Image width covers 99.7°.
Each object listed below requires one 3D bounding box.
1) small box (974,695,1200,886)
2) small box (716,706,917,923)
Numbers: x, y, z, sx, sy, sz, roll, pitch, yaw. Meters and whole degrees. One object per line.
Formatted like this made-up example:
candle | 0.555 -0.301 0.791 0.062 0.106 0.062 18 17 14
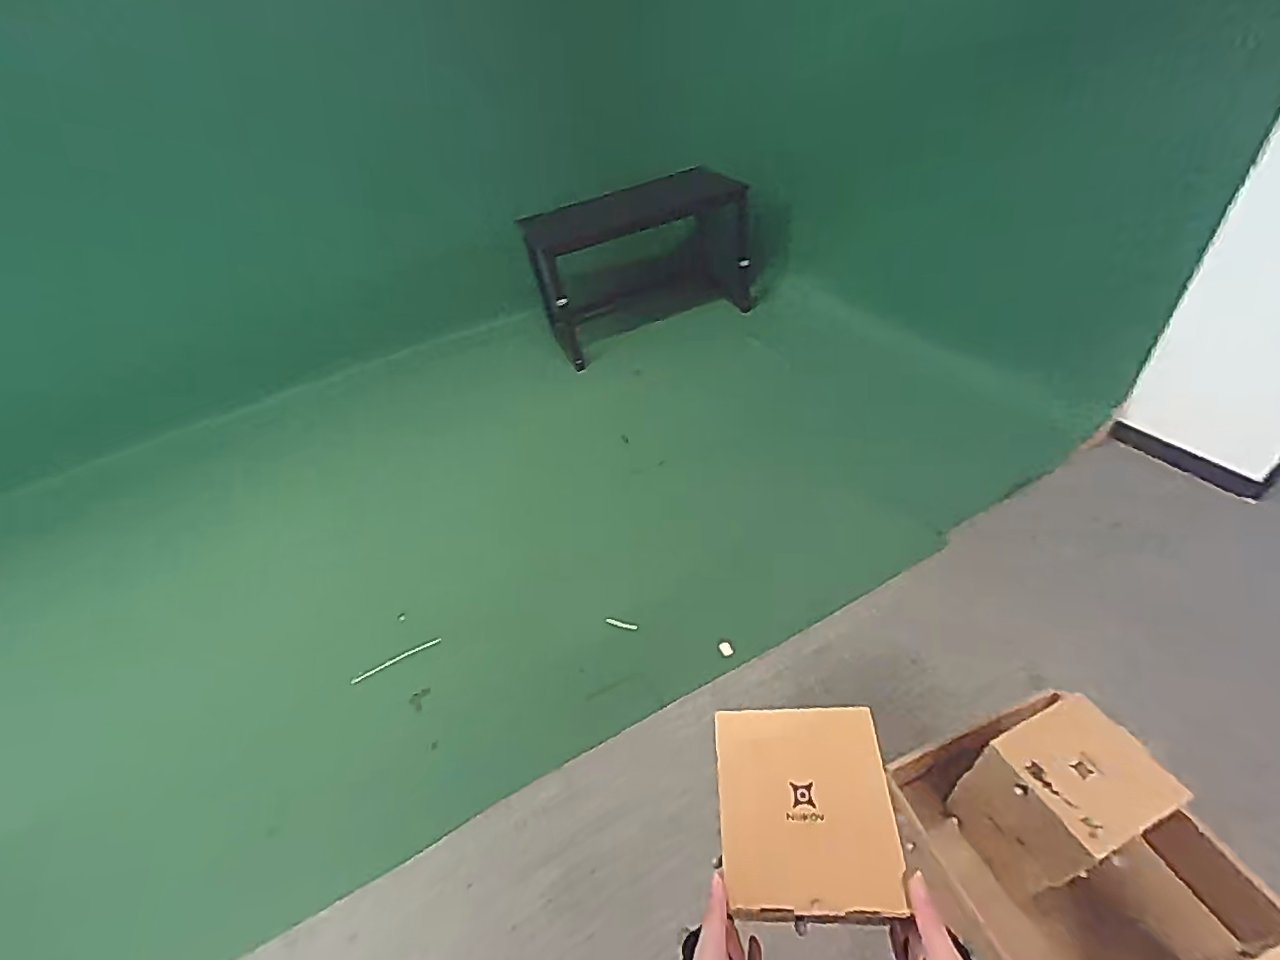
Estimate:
small box | 0.644 0.462 0.807 0.179 0.176 0.168 -21 42 -11
small box | 0.169 0.360 0.582 0.168 0.176 0.179 -5 51 8
